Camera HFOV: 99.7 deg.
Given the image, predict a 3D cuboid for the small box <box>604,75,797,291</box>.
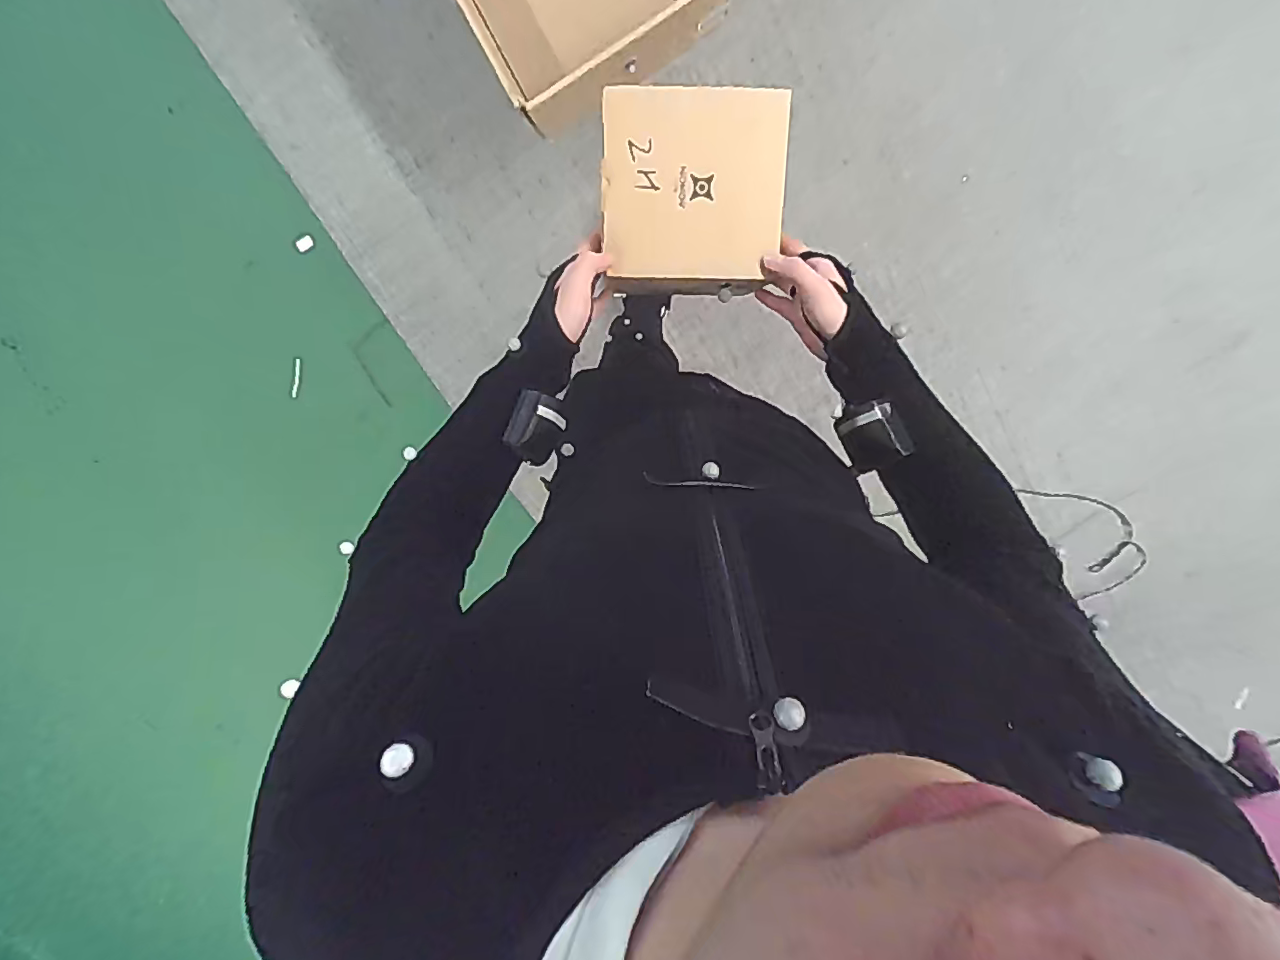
[{"bbox_3d":[0.052,-0.301,0.584,0.179,0.176,0.168,1,104,-1],"label":"small box"}]
